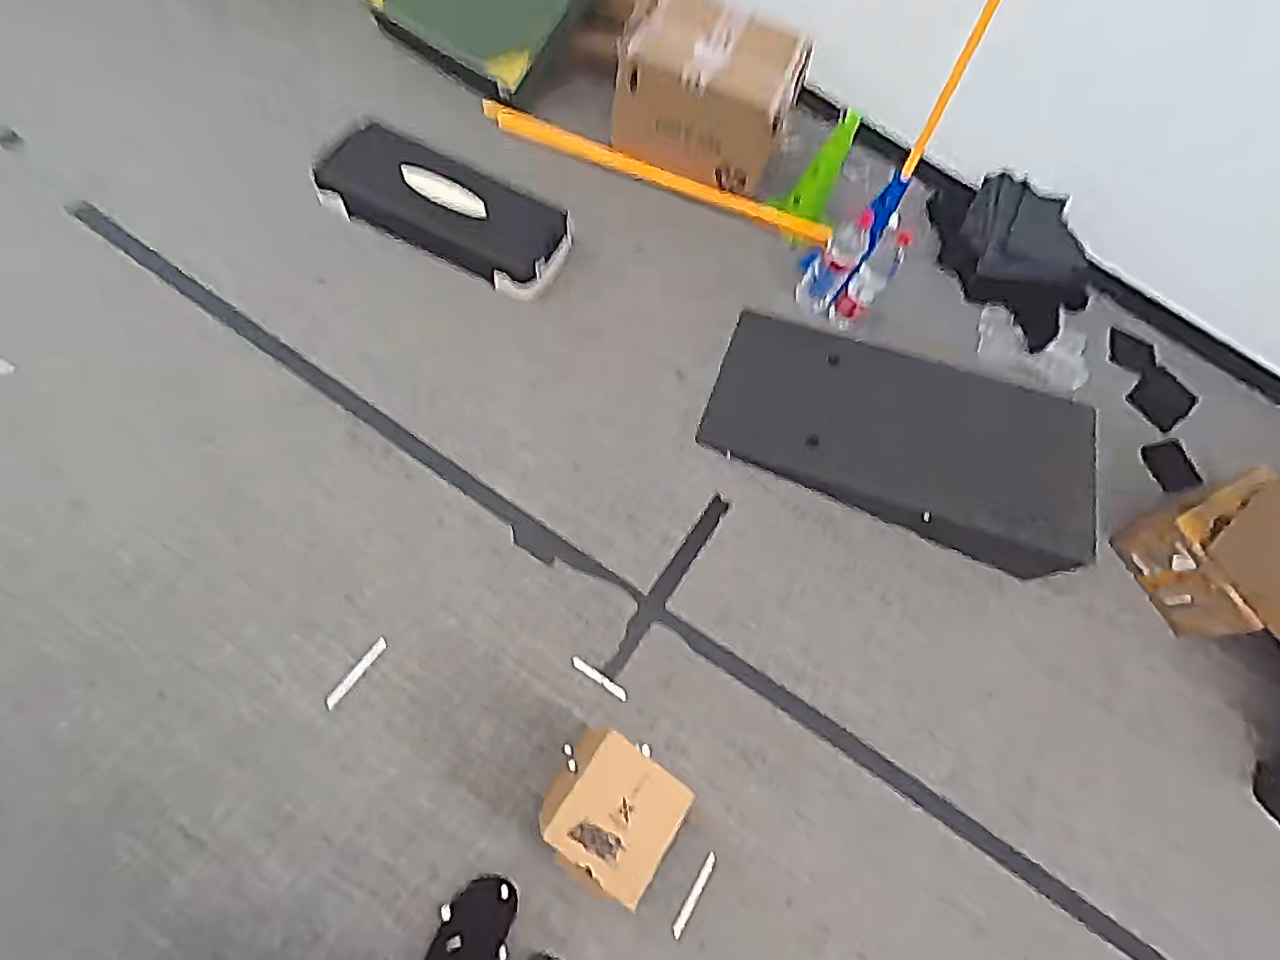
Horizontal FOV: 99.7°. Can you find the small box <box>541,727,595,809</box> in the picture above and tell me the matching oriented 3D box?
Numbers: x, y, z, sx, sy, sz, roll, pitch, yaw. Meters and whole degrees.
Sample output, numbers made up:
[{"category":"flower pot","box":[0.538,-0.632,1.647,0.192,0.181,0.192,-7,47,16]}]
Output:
[{"category":"small box","box":[-0.069,0.586,1.021,0.179,0.176,0.168,35,66,4]}]

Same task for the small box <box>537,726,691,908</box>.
[{"category":"small box","box":[-0.048,0.523,0.870,0.168,0.176,0.179,38,65,4]}]
